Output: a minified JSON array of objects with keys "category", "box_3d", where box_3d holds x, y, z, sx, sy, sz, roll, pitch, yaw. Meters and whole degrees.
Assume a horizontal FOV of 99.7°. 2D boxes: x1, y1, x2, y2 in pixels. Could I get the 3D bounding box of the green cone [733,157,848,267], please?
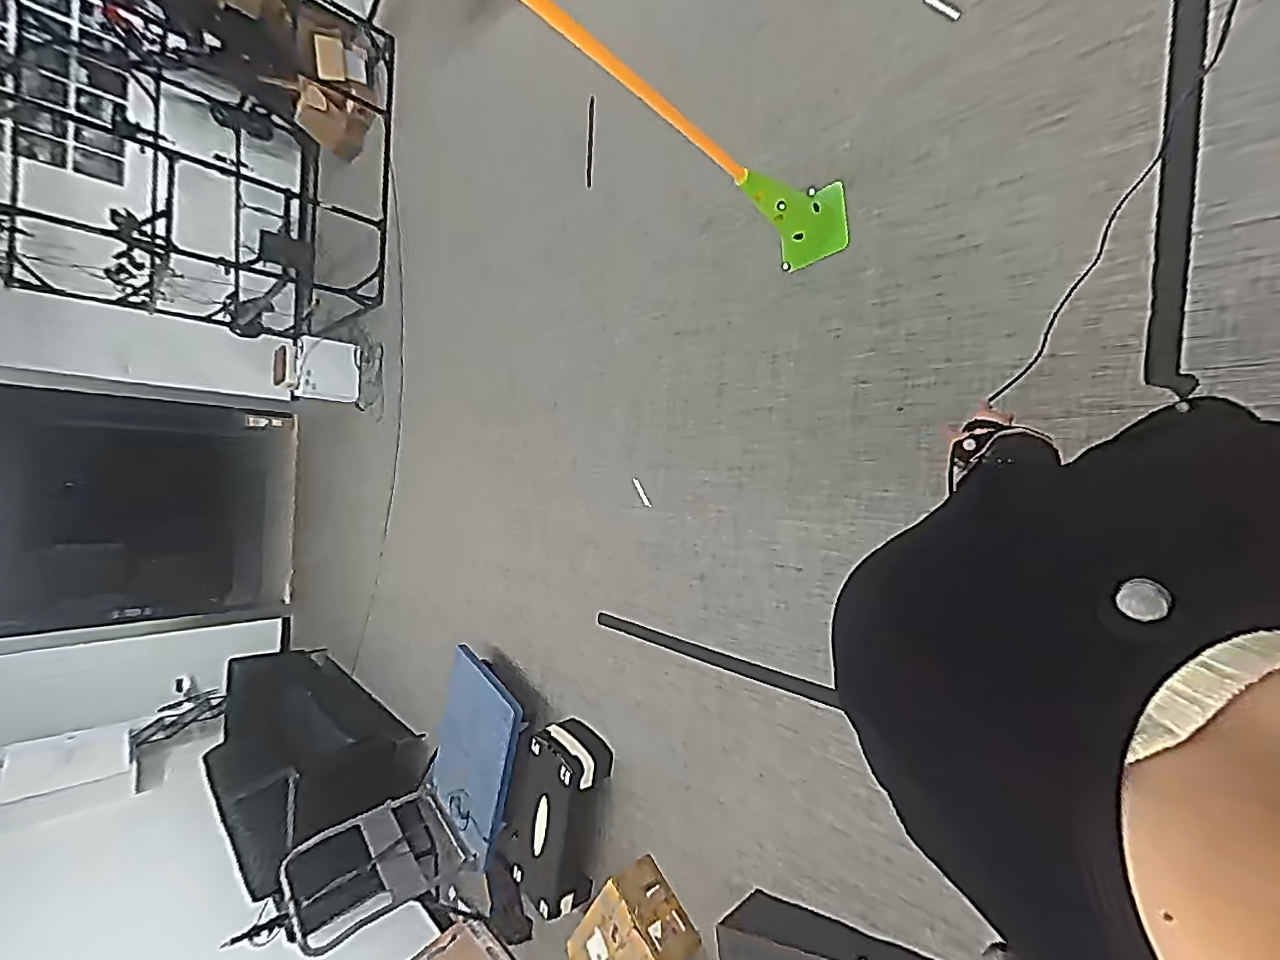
[{"category":"green cone","box_3d":[0.370,-0.742,1.423,0.200,0.368,0.202,-11,78,45]}]
